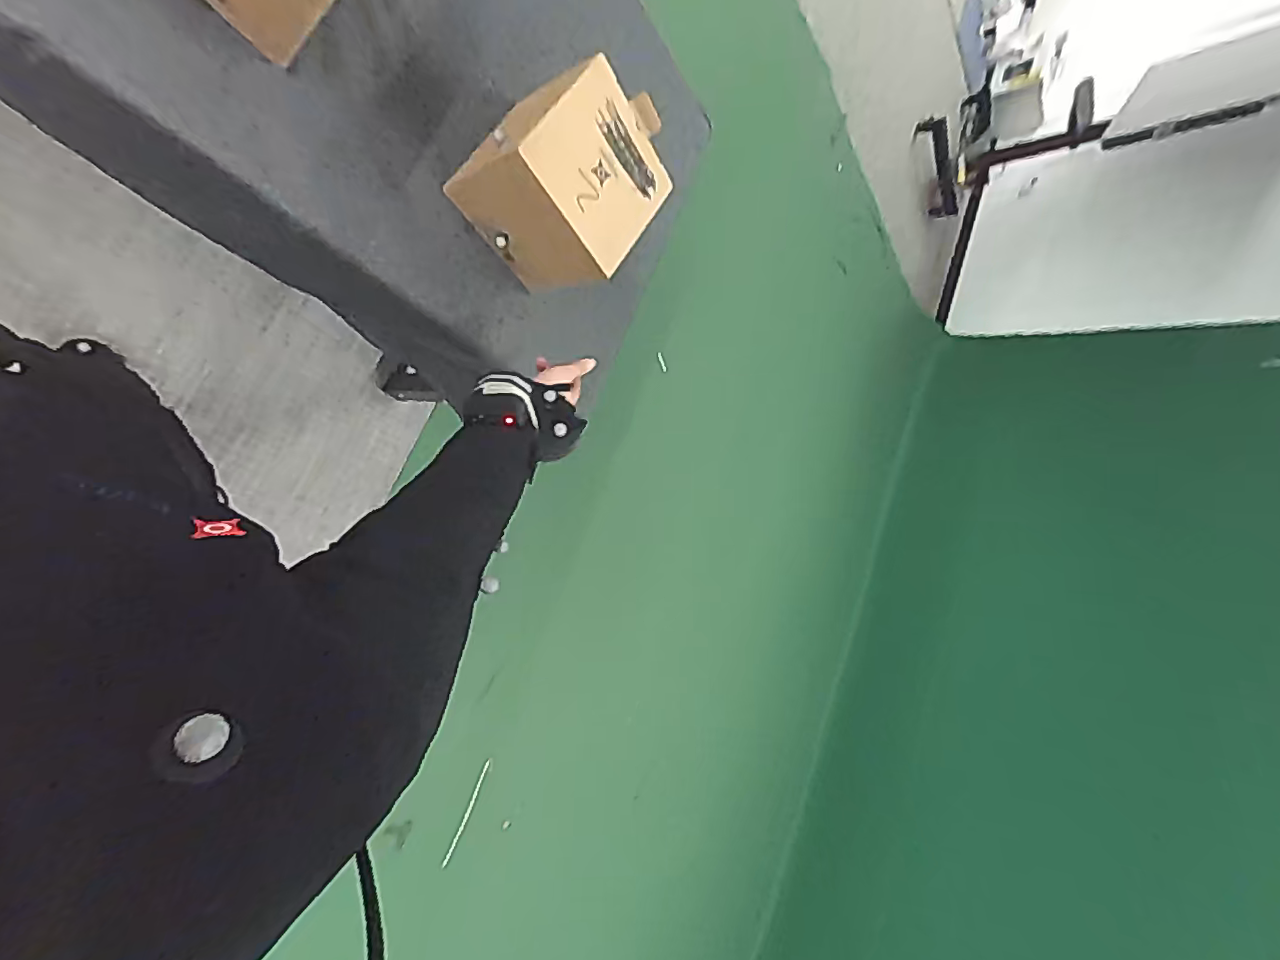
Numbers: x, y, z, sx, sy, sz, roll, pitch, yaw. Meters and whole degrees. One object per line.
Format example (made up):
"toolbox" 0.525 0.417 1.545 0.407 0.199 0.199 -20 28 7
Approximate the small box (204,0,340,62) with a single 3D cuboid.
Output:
"small box" -0.309 -0.503 0.439 0.168 0.176 0.179 35 72 -43
